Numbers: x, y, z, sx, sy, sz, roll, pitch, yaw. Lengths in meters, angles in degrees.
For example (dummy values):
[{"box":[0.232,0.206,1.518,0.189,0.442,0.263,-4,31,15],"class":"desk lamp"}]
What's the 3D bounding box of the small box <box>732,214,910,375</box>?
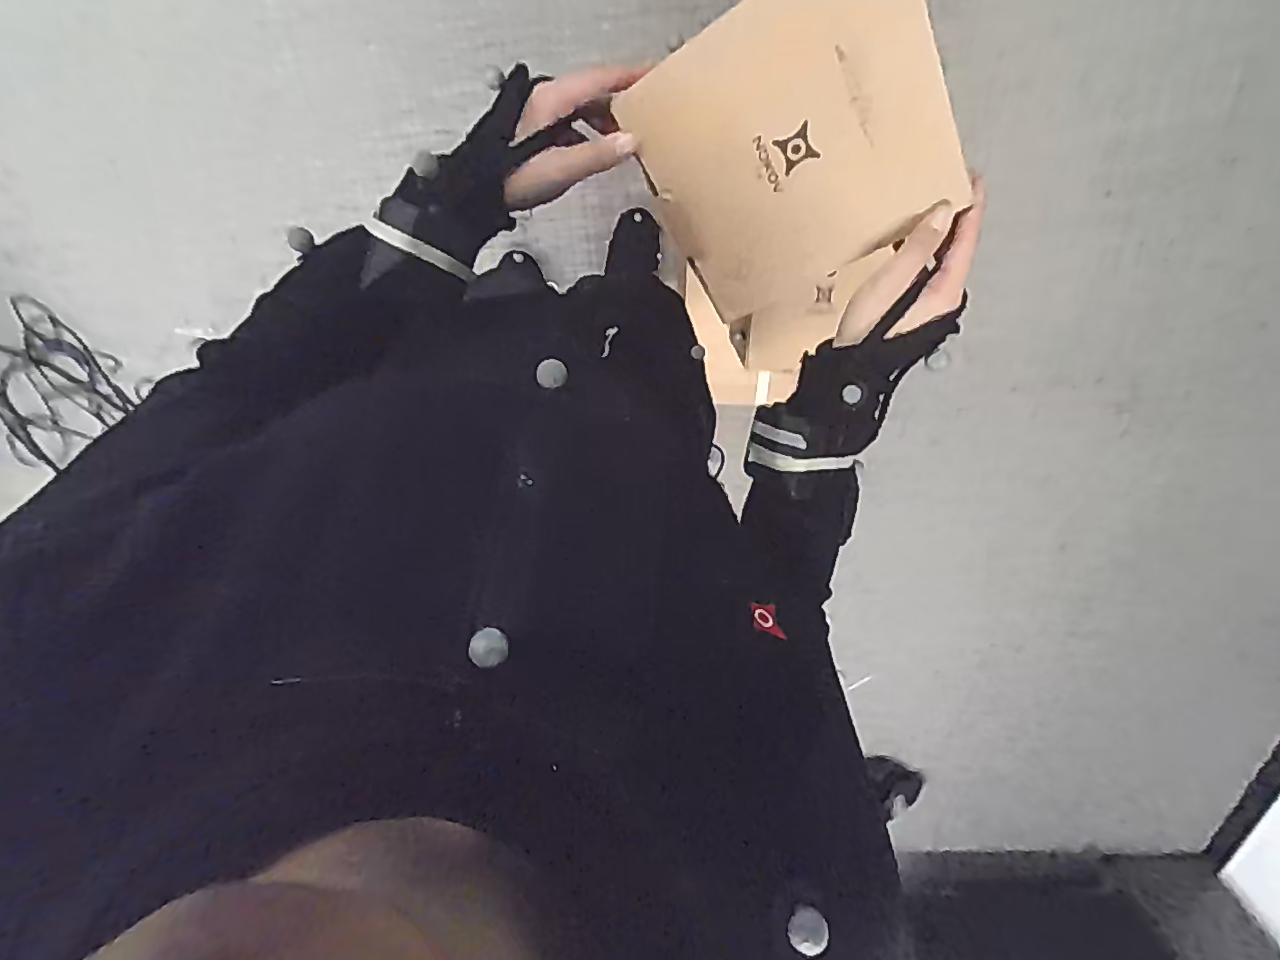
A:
[{"box":[0.215,-0.244,0.697,0.168,0.176,0.179,0,119,1],"class":"small box"}]
